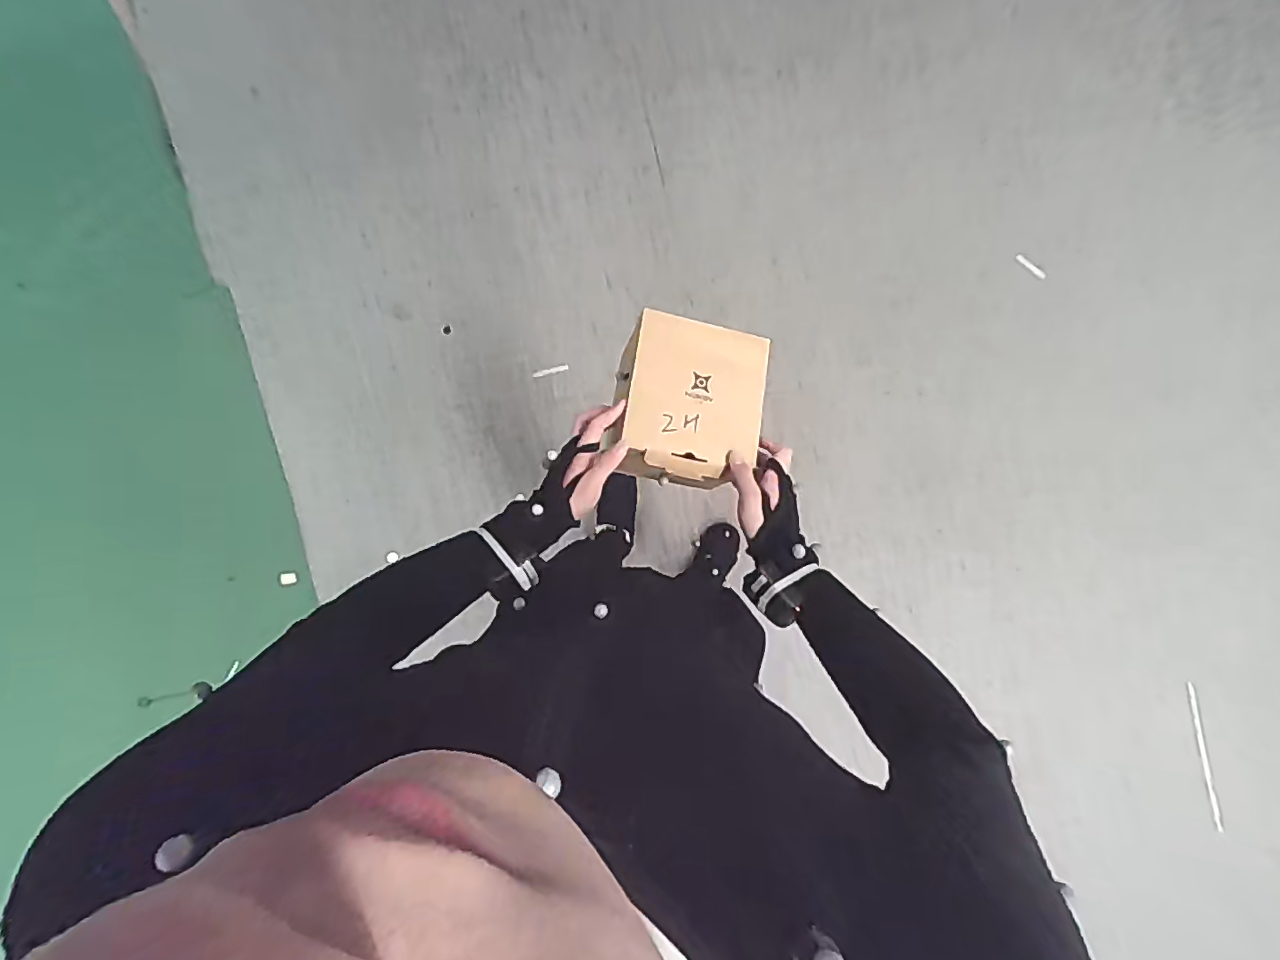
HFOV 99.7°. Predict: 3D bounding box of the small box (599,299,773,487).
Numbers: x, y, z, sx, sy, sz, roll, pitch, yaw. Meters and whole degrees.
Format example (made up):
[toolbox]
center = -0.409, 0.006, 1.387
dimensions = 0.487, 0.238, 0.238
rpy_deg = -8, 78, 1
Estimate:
[small box]
center = 0.049, -0.100, 0.711
dimensions = 0.168, 0.176, 0.179
rpy_deg = 17, 82, -7
